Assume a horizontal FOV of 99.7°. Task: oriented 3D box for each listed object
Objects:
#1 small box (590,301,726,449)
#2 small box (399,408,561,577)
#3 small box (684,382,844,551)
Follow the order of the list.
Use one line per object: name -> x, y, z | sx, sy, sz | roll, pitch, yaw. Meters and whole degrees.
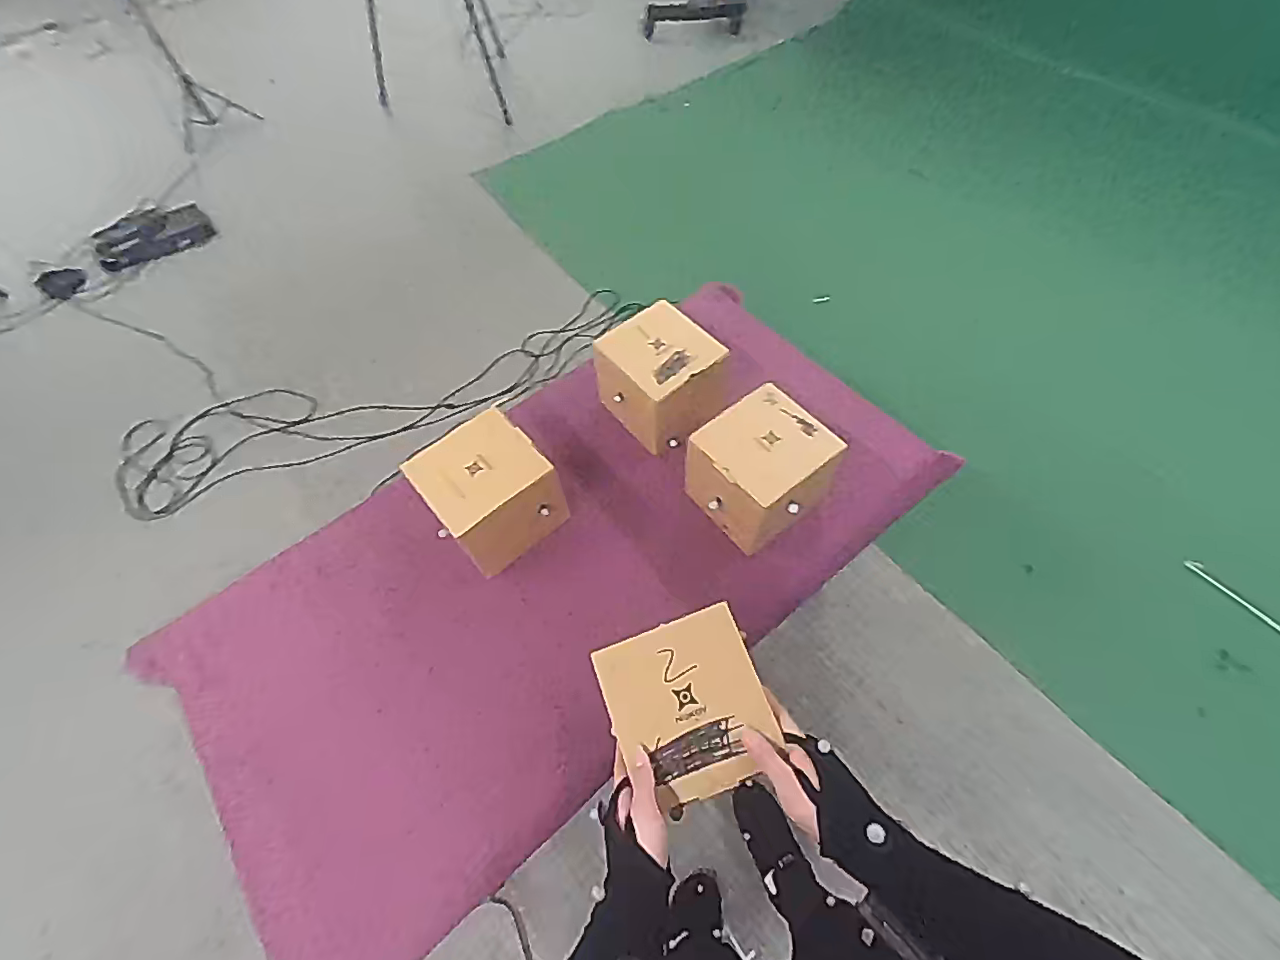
small box -> 0.034, -0.180, 0.976 | 0.168, 0.176, 0.179 | -36, 62, -17
small box -> -0.243, 0.024, 0.872 | 0.179, 0.176, 0.168 | -38, 64, -17
small box -> 0.190, -0.015, 0.869 | 0.179, 0.176, 0.168 | -35, 63, -15
